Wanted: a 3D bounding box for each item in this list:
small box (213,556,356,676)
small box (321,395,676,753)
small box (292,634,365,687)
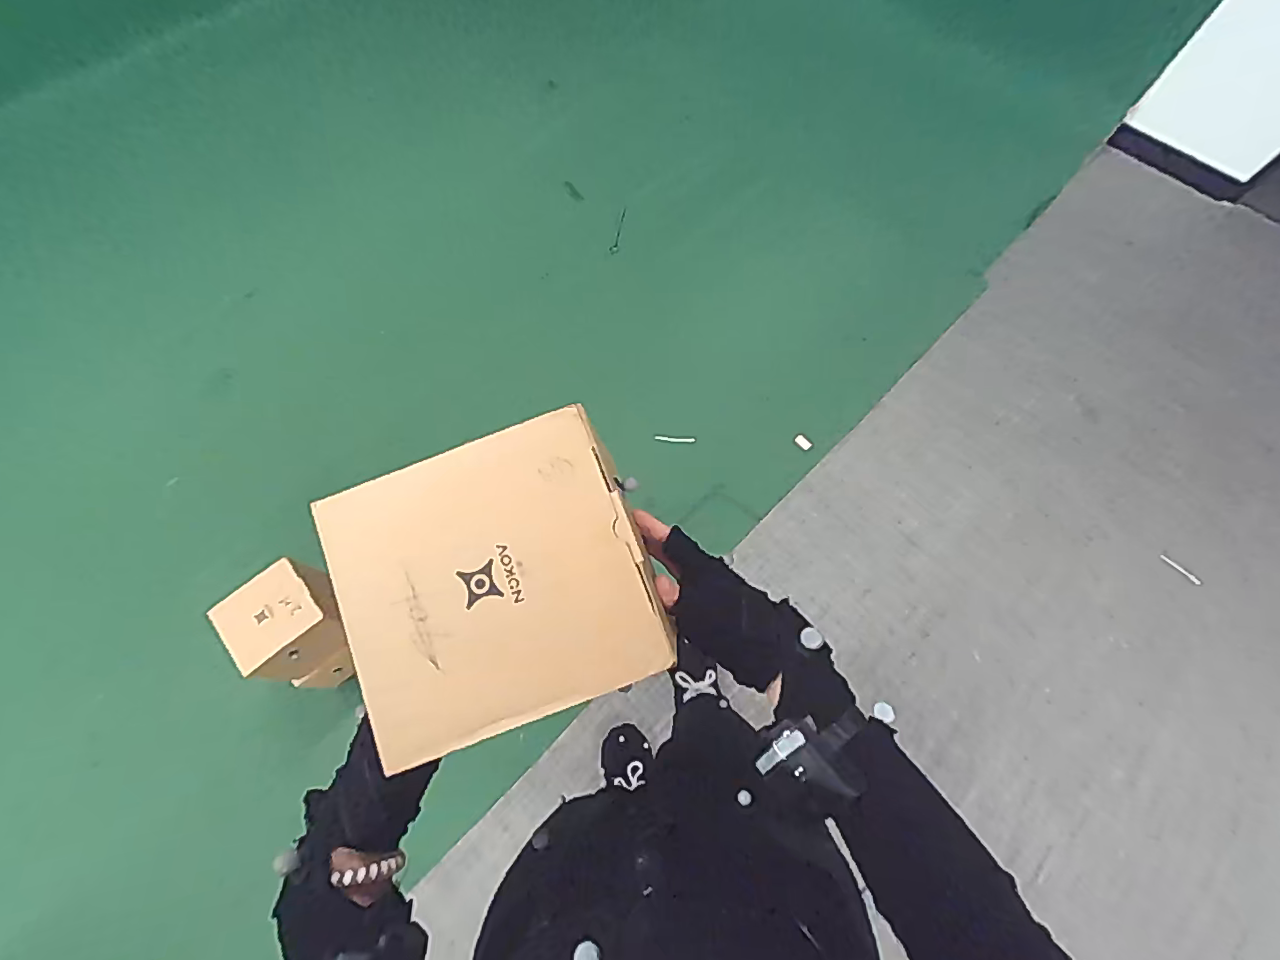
[{"bbox_3d":[-0.734,0.295,1.145,0.179,0.176,0.168,-38,72,-14],"label":"small box"},{"bbox_3d":[-0.084,0.063,0.396,0.179,0.176,0.168,-21,79,0],"label":"small box"},{"bbox_3d":[-0.734,0.370,1.292,0.168,0.176,0.179,-38,72,-14],"label":"small box"}]
